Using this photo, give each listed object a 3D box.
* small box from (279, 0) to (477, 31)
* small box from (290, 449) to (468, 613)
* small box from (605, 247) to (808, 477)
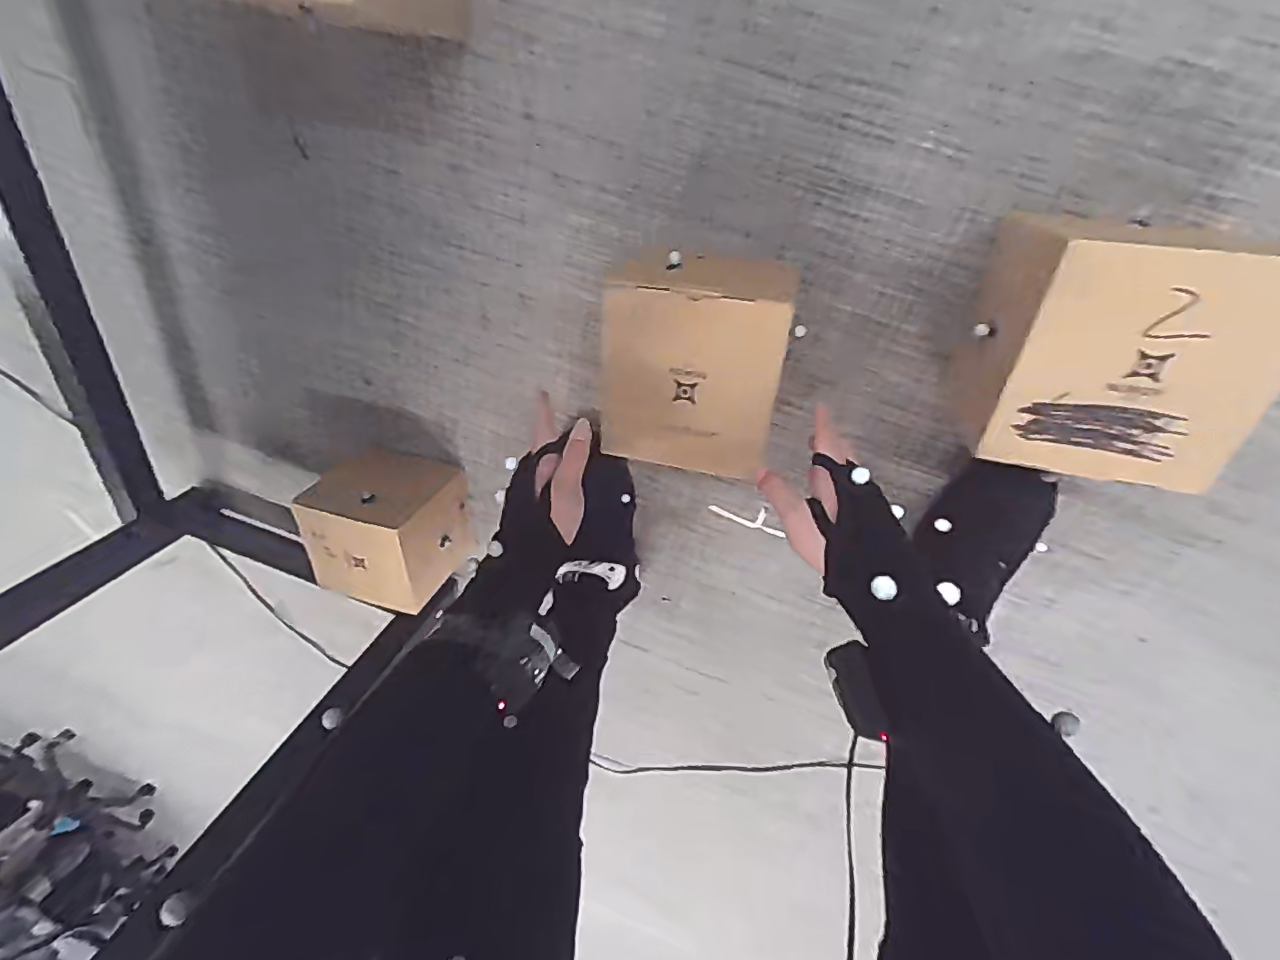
[{"bbox_3d":[-0.256,-0.491,0.441,0.179,0.176,0.168,14,123,10],"label":"small box"},{"bbox_3d":[-0.379,0.069,0.828,0.179,0.176,0.168,13,124,11],"label":"small box"},{"bbox_3d":[0.069,-0.131,0.555,0.168,0.176,0.179,12,124,11],"label":"small box"}]
